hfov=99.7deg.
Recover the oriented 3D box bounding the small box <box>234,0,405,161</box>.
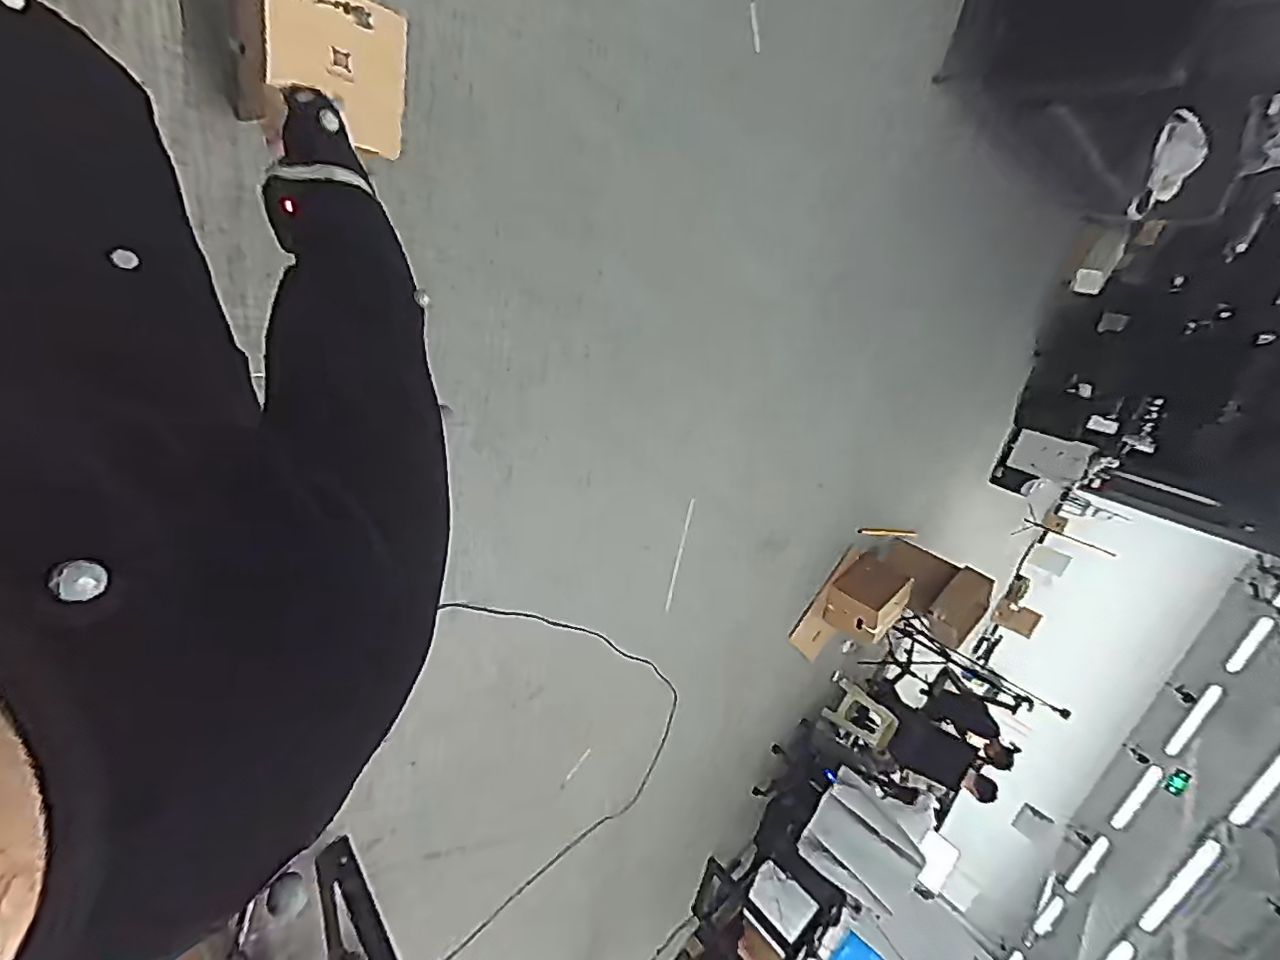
[{"bbox_3d":[-0.448,-0.567,0.751,0.168,0.176,0.179,-7,118,-44],"label":"small box"}]
